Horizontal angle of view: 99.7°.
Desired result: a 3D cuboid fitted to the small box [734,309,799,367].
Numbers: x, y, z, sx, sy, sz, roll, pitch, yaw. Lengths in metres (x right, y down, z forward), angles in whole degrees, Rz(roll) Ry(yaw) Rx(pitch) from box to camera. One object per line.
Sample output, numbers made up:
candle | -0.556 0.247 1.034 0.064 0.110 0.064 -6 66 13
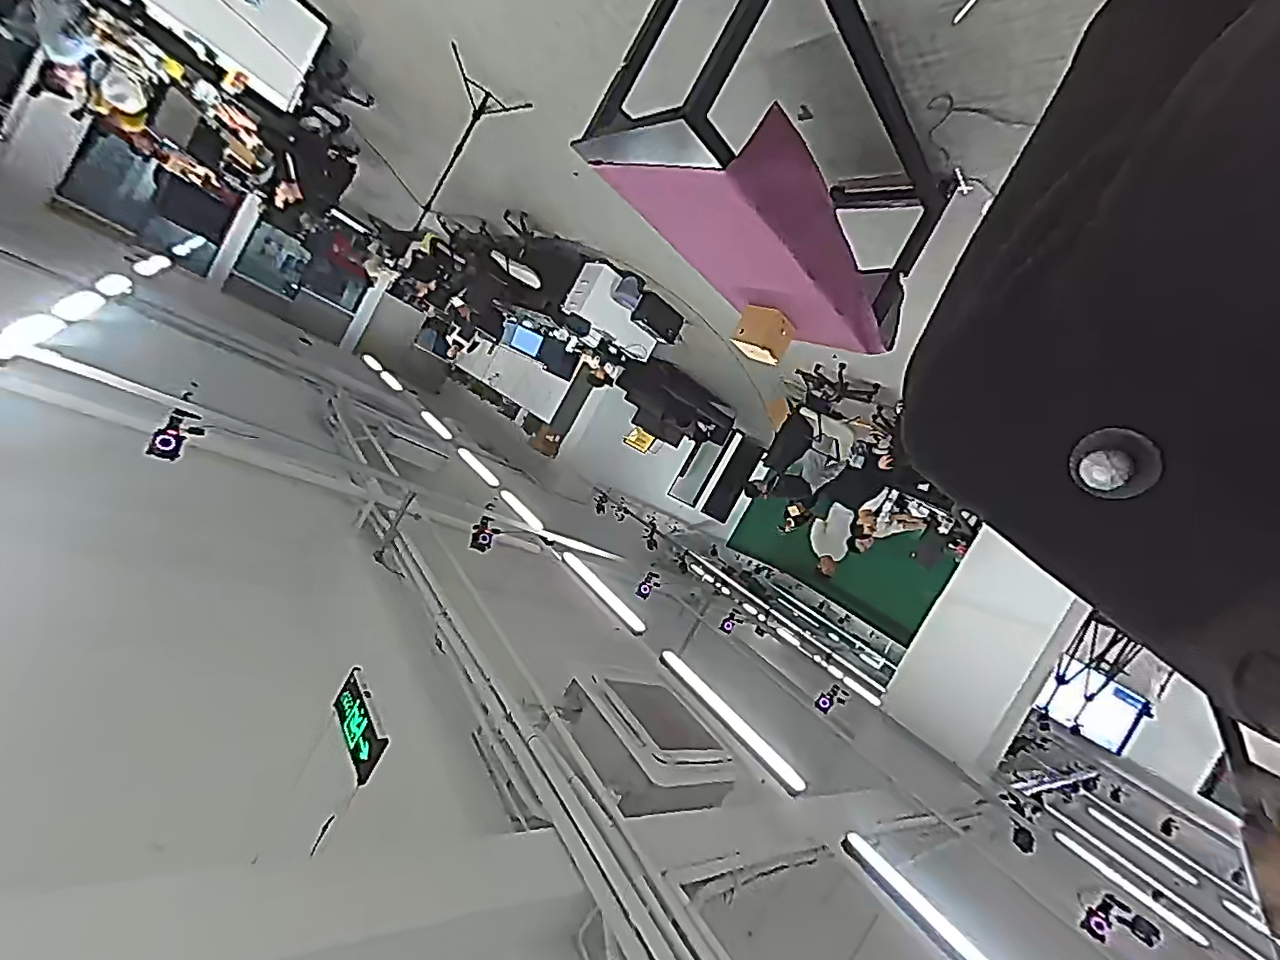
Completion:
small box | 0.540 -0.608 2.296 0.168 0.176 0.179 27 -177 -43
